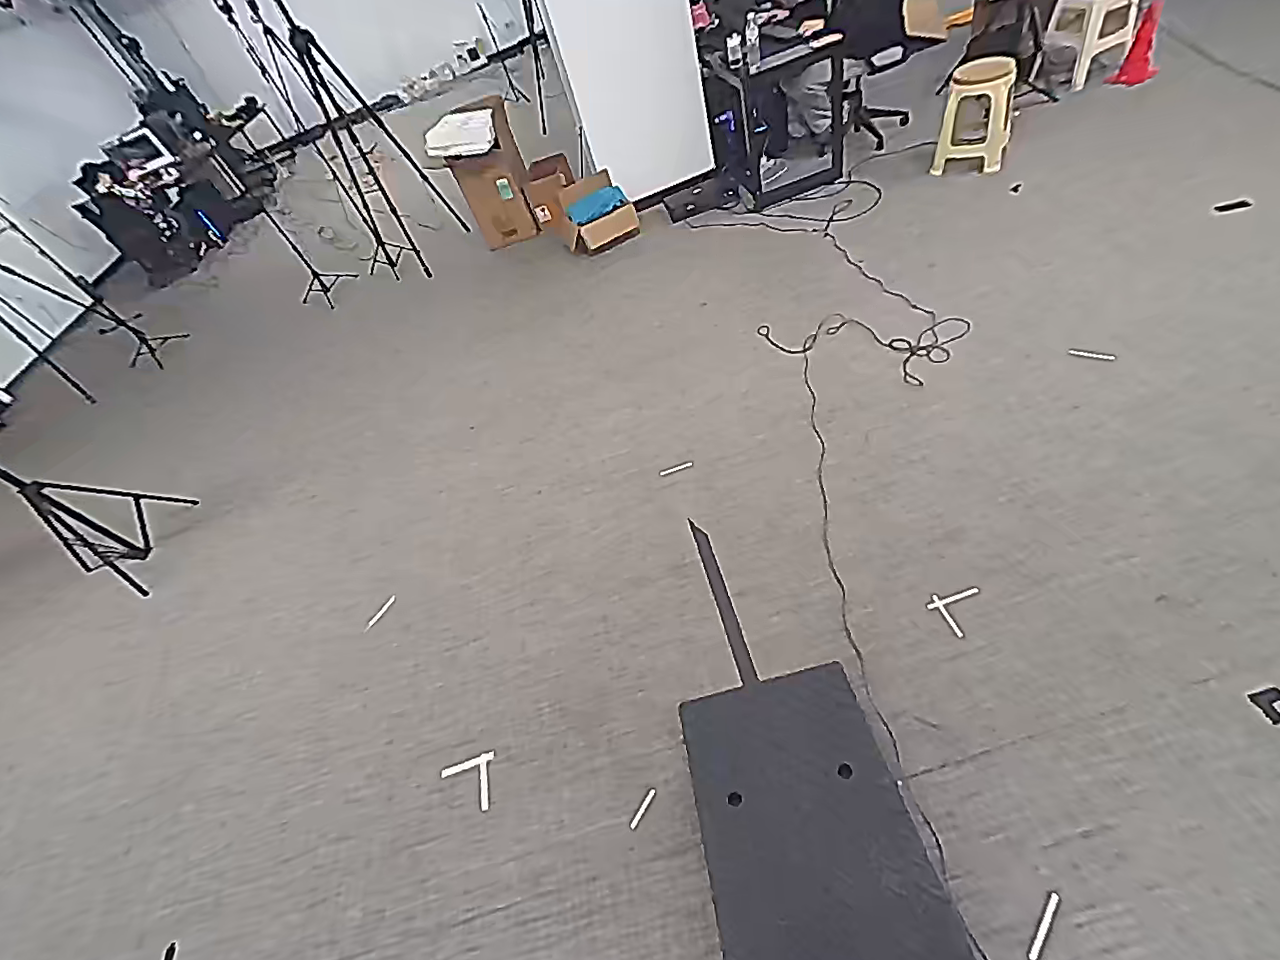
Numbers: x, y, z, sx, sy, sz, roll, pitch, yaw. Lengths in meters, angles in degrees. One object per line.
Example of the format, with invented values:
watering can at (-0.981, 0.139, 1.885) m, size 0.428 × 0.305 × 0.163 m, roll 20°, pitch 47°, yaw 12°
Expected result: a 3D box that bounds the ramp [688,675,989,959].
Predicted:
ramp at (0.427, 0.926, 1.182) m, size 0.509 × 0.206 × 0.991 m, roll -21°, pitch 45°, yaw 4°
